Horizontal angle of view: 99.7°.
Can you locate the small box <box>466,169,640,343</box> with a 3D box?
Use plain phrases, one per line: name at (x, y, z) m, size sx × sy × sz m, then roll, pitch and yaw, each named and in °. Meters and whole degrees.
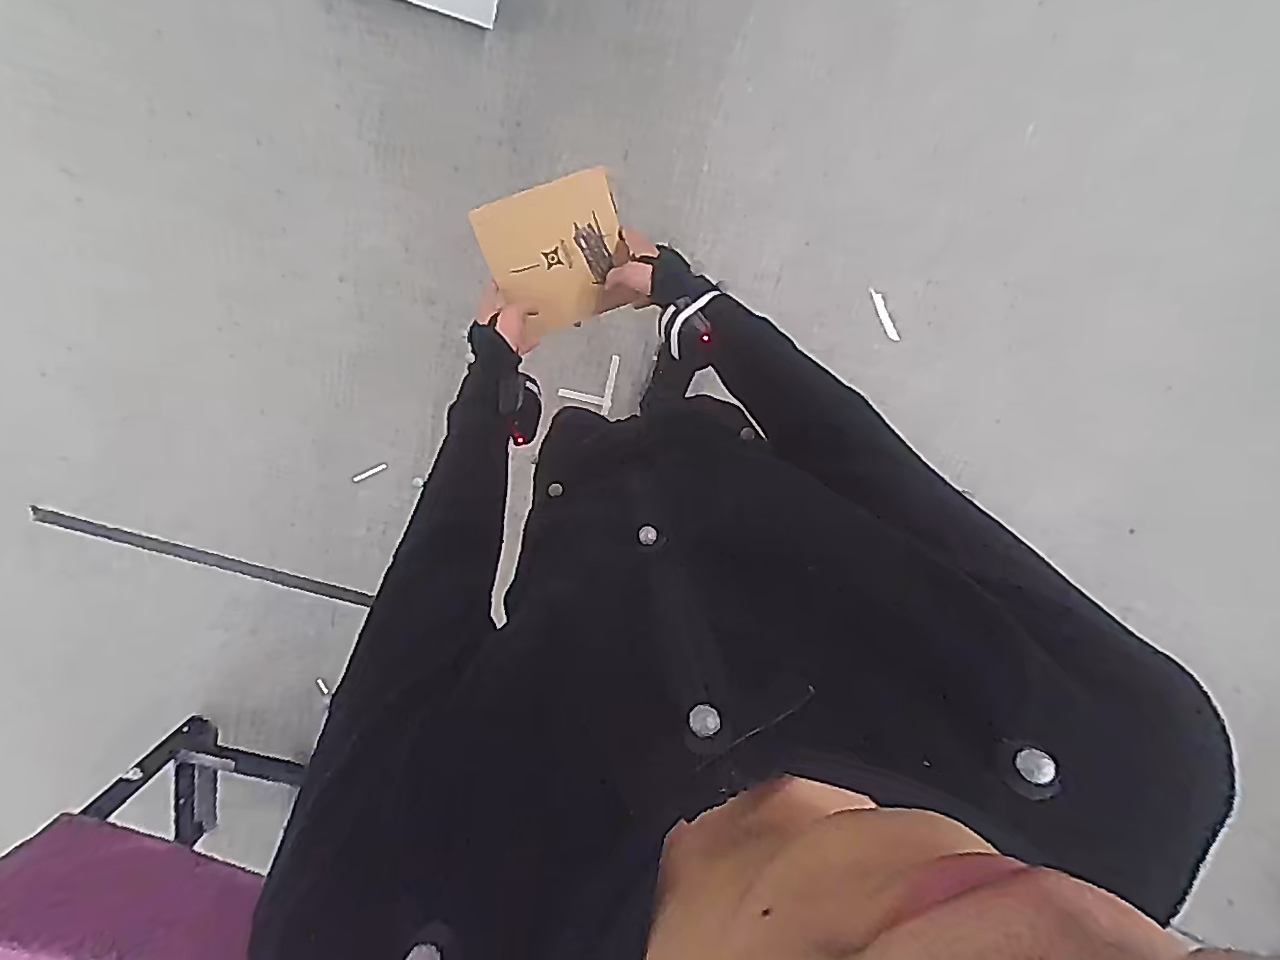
small box at (-0.116, -0.308, 0.751) m, size 0.179 × 0.176 × 0.168 m, roll -20°, pitch 114°, yaw 1°
